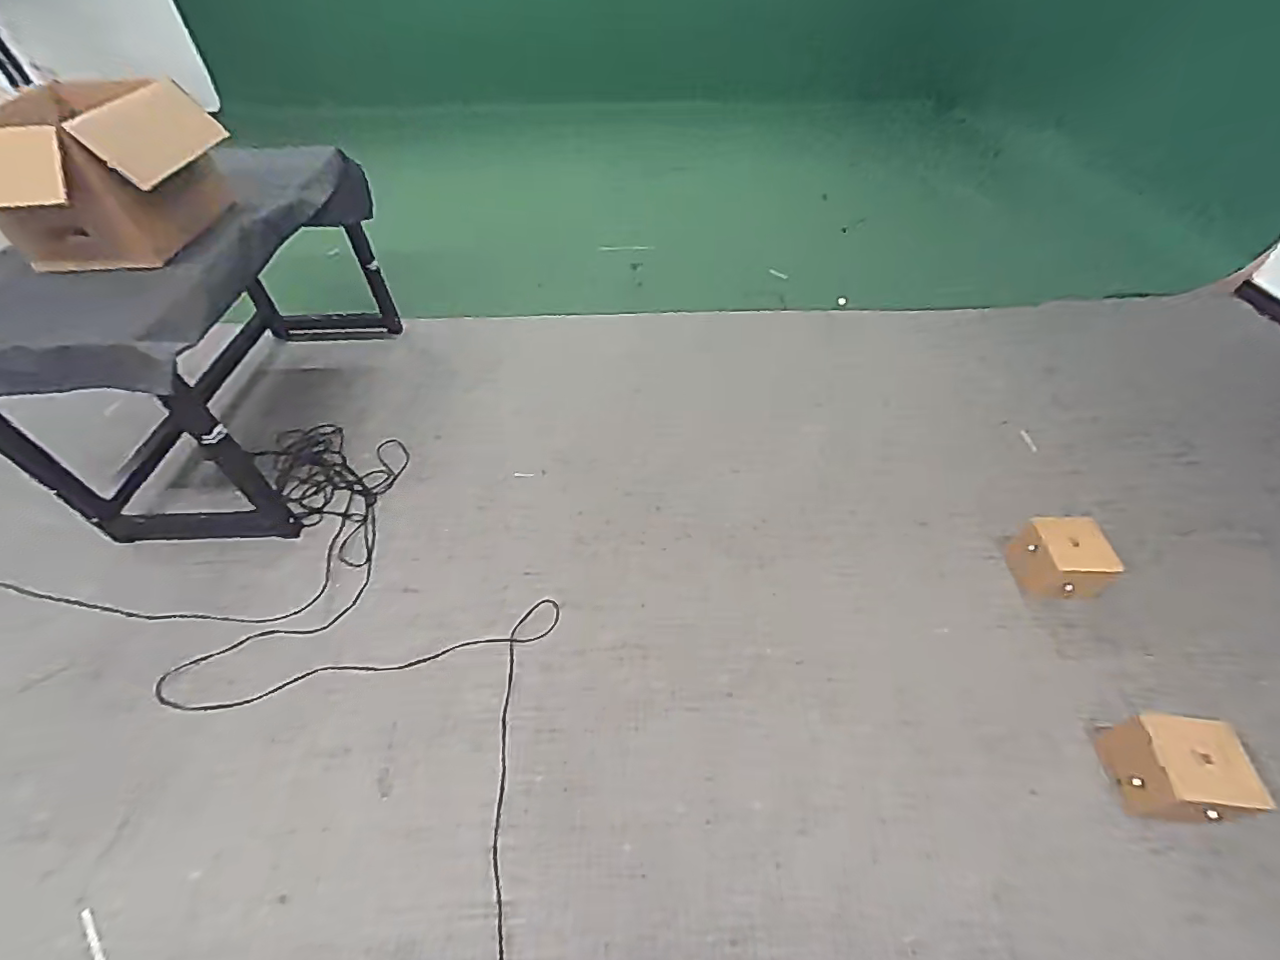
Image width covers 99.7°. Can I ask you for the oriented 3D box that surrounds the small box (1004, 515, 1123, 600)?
[{"bbox_3d":[1.155,0.216,1.491,0.168,0.176,0.179,0,48,2],"label":"small box"}]

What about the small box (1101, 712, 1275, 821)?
[{"bbox_3d":[1.134,0.609,1.145,0.179,0.176,0.168,4,50,4],"label":"small box"}]
